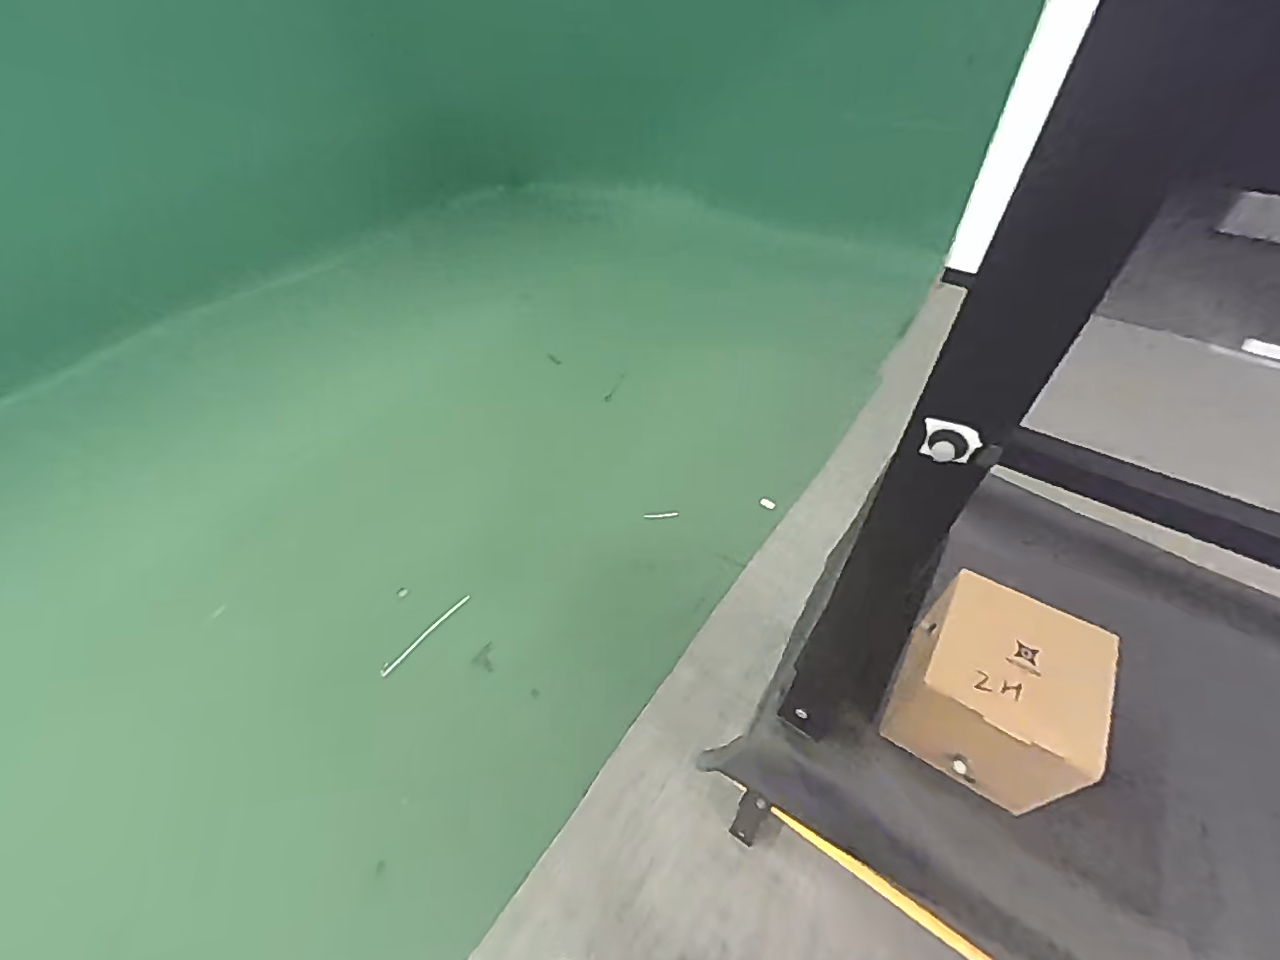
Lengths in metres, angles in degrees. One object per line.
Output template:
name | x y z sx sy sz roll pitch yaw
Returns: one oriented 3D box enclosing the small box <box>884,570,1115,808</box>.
small box | 0.418 0.249 0.649 0.168 0.176 0.179 26 54 24
